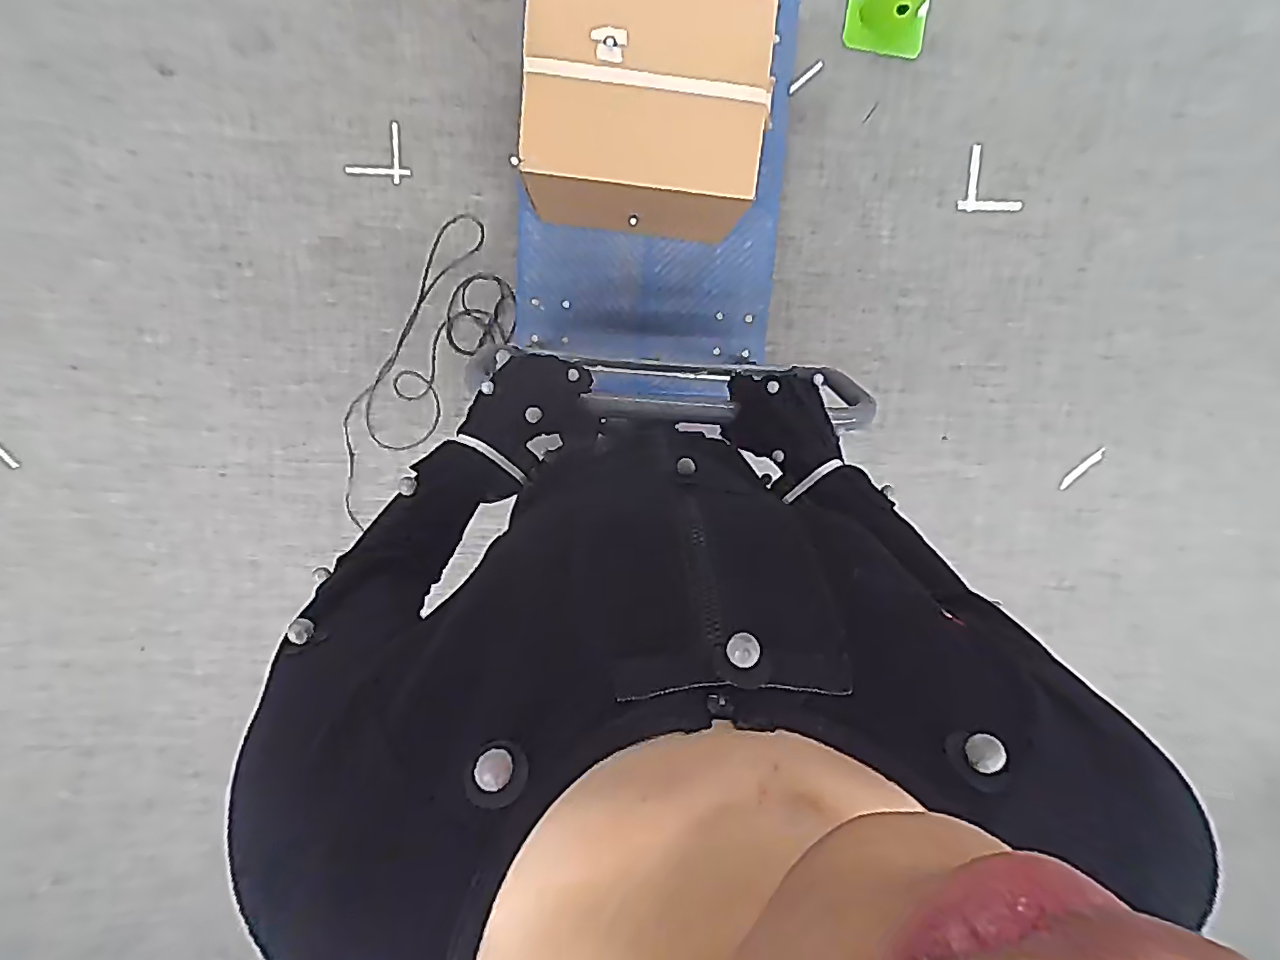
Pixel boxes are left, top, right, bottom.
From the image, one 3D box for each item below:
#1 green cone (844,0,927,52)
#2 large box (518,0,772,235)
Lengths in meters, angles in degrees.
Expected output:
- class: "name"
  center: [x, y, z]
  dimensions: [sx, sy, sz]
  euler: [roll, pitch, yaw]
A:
- class: "green cone"
  center: [0.615, -1.132, 1.142]
  dimensions: [0.202, 0.368, 0.200]
  euler: [6, 100, -6]
- class: "large box"
  center: [0.000, -0.681, 1.034]
  dimensions: [0.408, 0.320, 0.320]
  euler: [5, 100, -4]
